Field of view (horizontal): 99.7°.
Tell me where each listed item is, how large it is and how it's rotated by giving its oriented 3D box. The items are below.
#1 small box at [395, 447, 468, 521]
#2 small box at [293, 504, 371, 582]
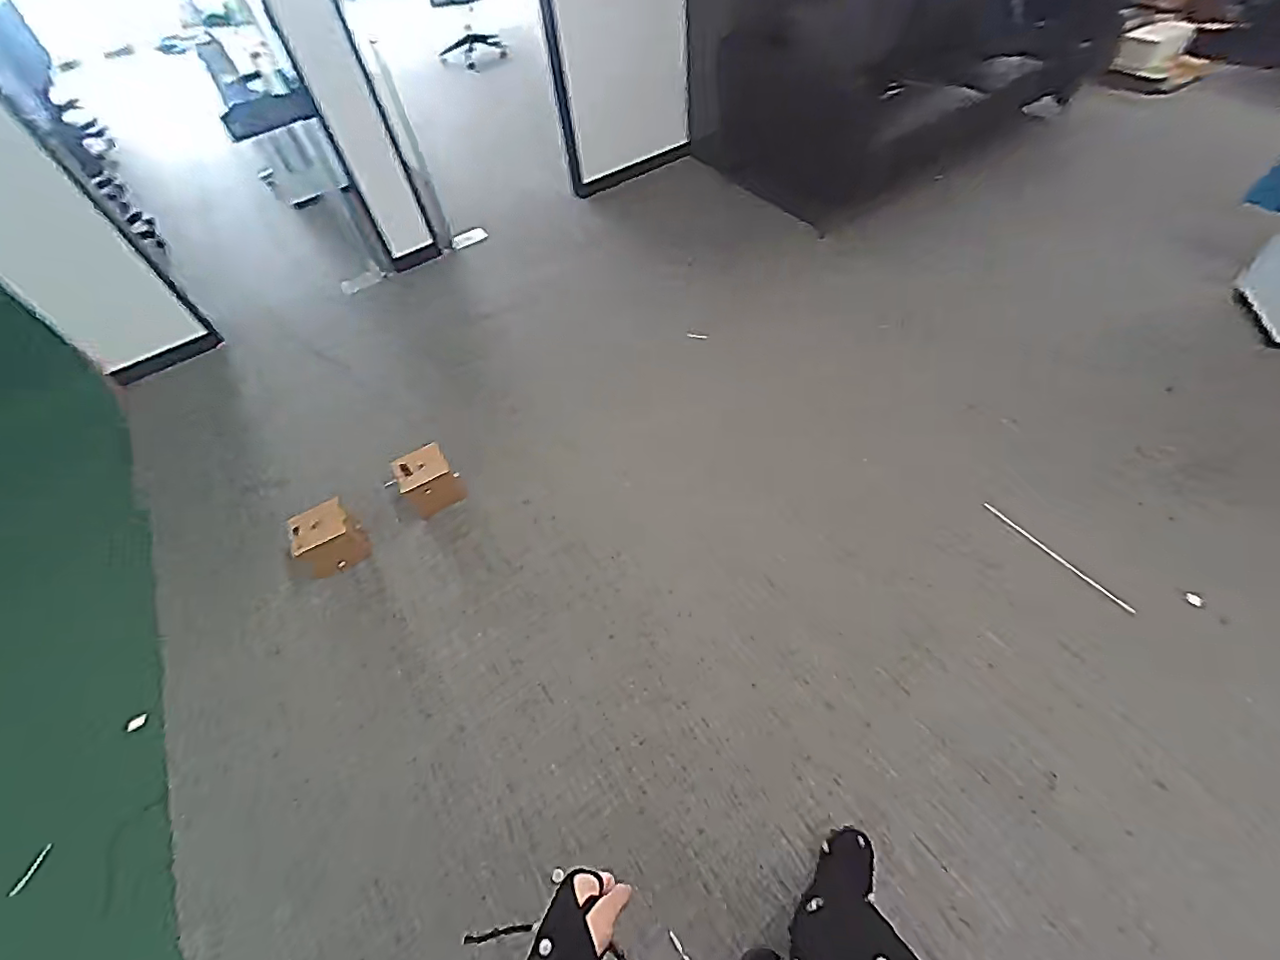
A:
[{"bbox_3d":[-0.761,0.019,1.983,0.179,0.176,0.168,-28,55,-15],"label":"small box"},{"bbox_3d":[-1.055,0.219,1.869,0.179,0.176,0.168,-27,55,-14],"label":"small box"}]
